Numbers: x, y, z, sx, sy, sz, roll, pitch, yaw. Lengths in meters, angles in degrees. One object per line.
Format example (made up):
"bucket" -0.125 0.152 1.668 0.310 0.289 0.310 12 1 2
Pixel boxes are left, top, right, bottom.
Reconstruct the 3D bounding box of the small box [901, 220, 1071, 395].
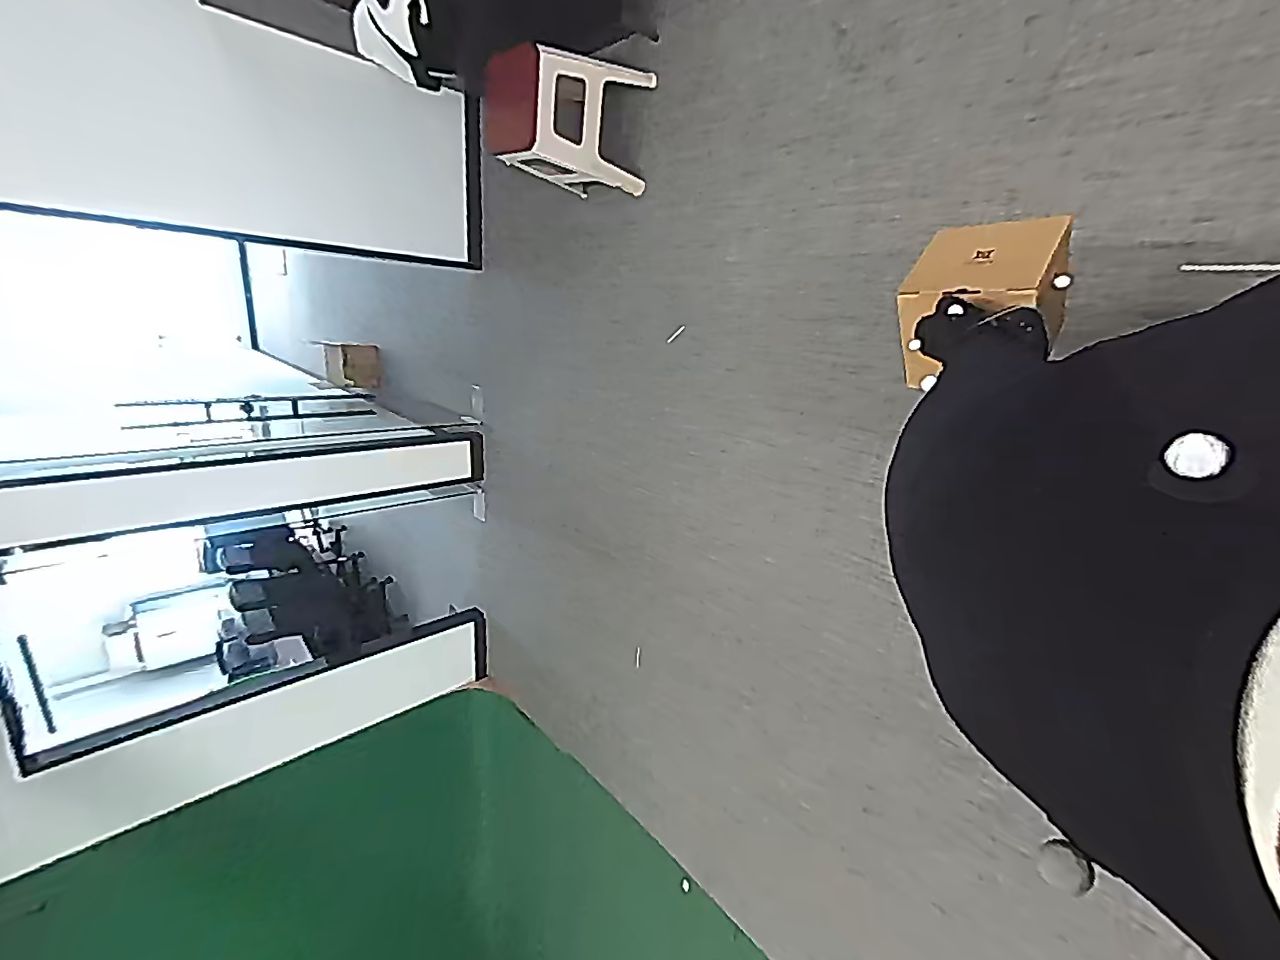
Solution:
"small box" 0.505 -0.249 0.793 0.168 0.179 0.176 14 146 43
